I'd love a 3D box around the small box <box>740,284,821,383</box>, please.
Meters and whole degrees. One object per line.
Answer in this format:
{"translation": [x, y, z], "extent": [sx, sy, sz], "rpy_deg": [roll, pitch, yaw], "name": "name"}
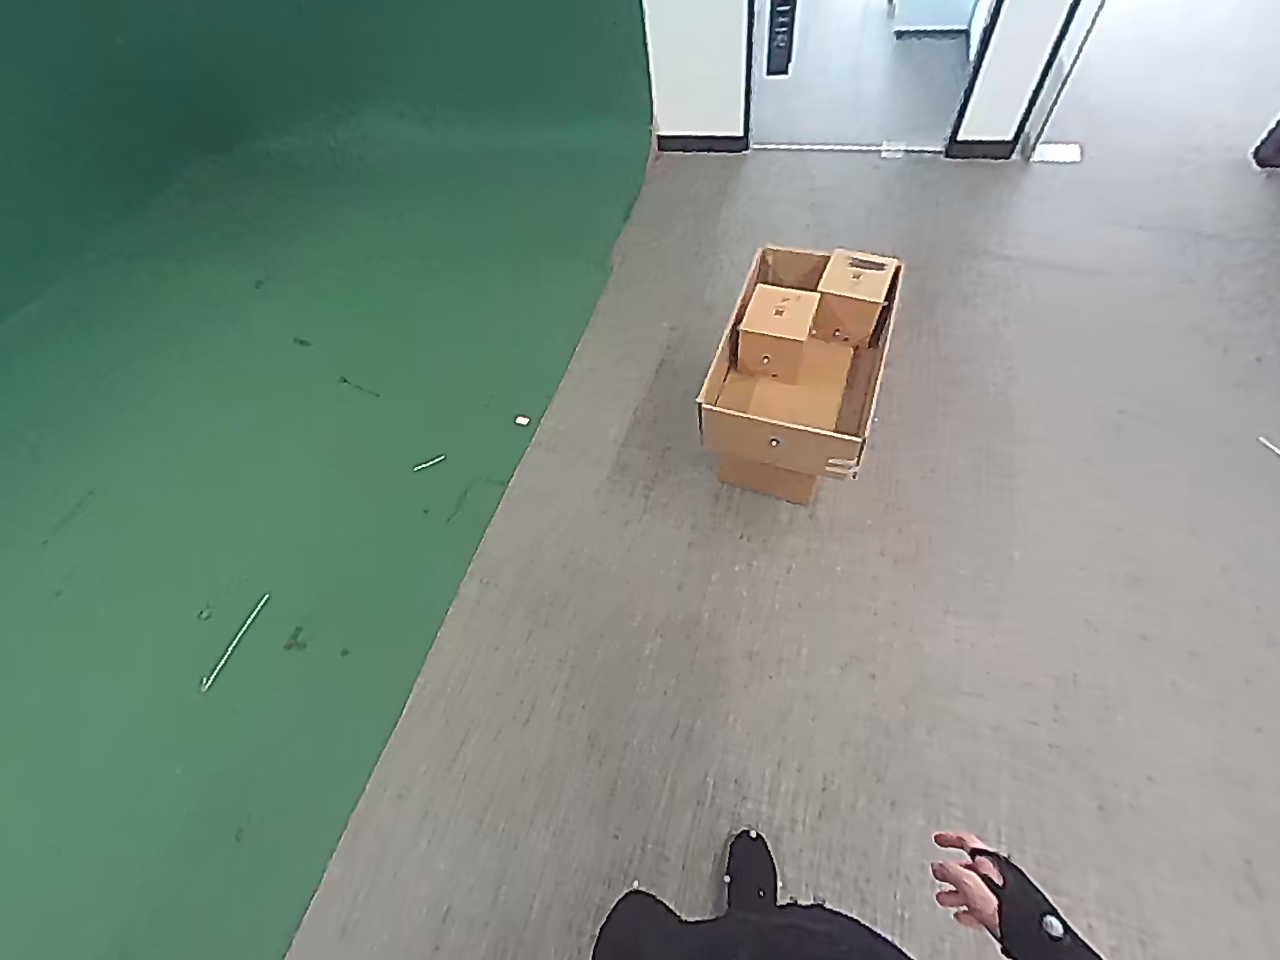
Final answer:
{"translation": [0.367, -0.383, 1.432], "extent": [0.168, 0.176, 0.179], "rpy_deg": [17, 63, 16], "name": "small box"}
